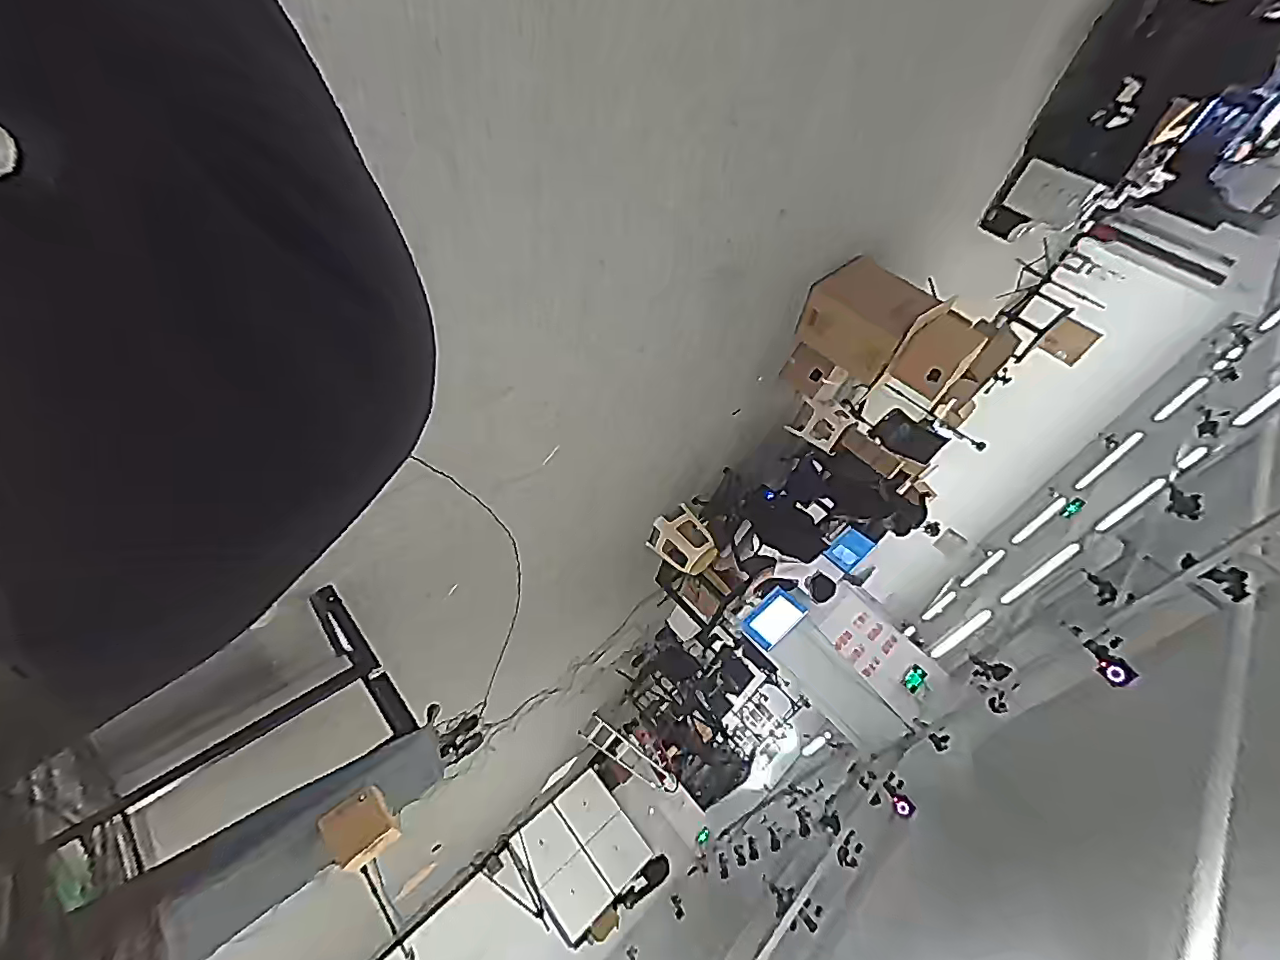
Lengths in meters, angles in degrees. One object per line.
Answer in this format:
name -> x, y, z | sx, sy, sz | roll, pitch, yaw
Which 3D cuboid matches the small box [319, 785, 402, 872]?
small box -> -0.906, 1.125, 1.752 | 0.168, 0.176, 0.179 | -32, 154, -30
